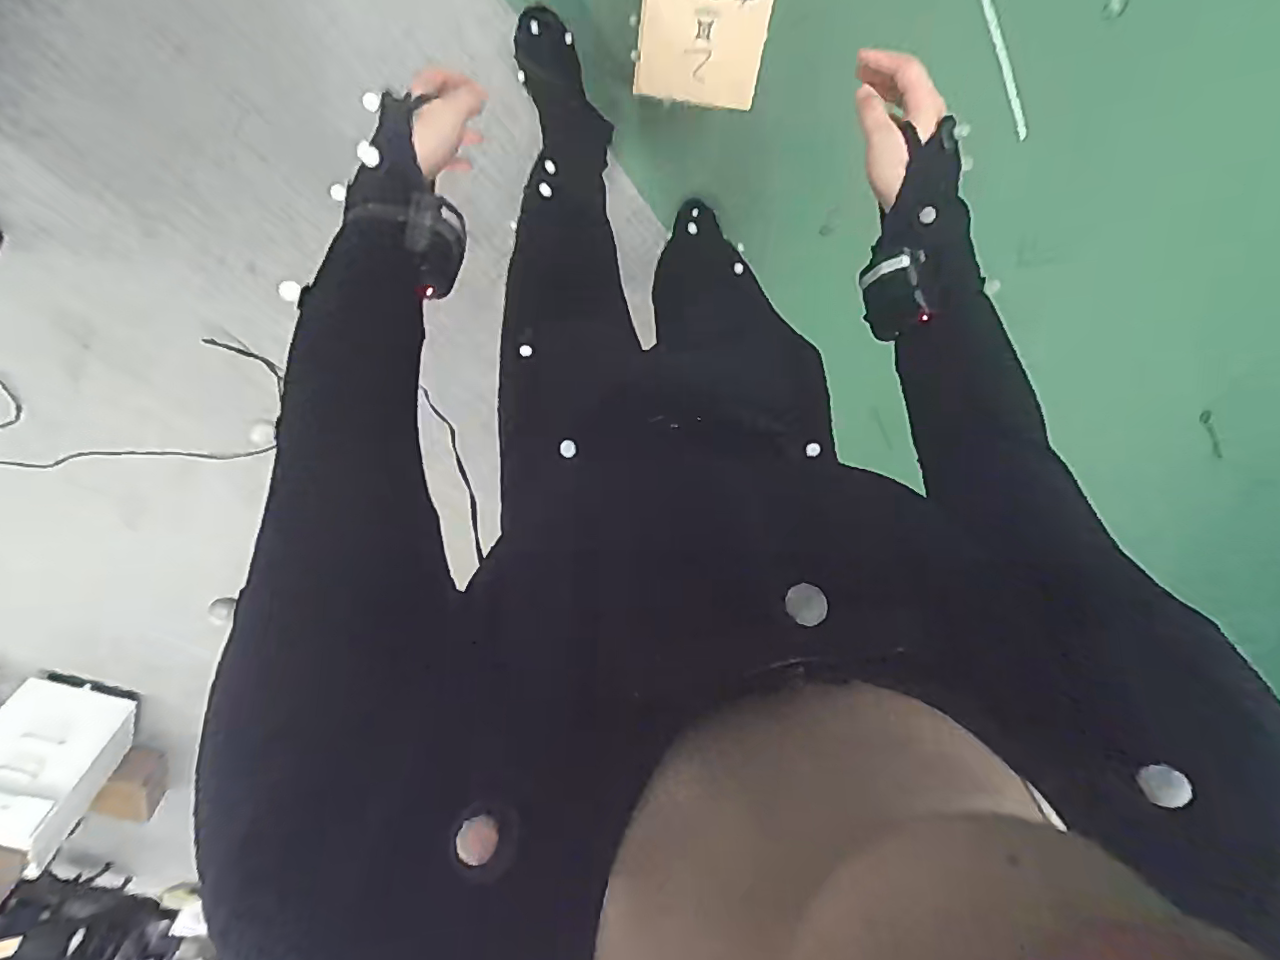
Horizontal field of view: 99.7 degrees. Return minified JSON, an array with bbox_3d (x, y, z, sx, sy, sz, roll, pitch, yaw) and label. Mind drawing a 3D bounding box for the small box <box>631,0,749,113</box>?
[{"bbox_3d":[0.079,-0.741,0.909,0.168,0.176,0.179,6,129,-4],"label":"small box"}]
